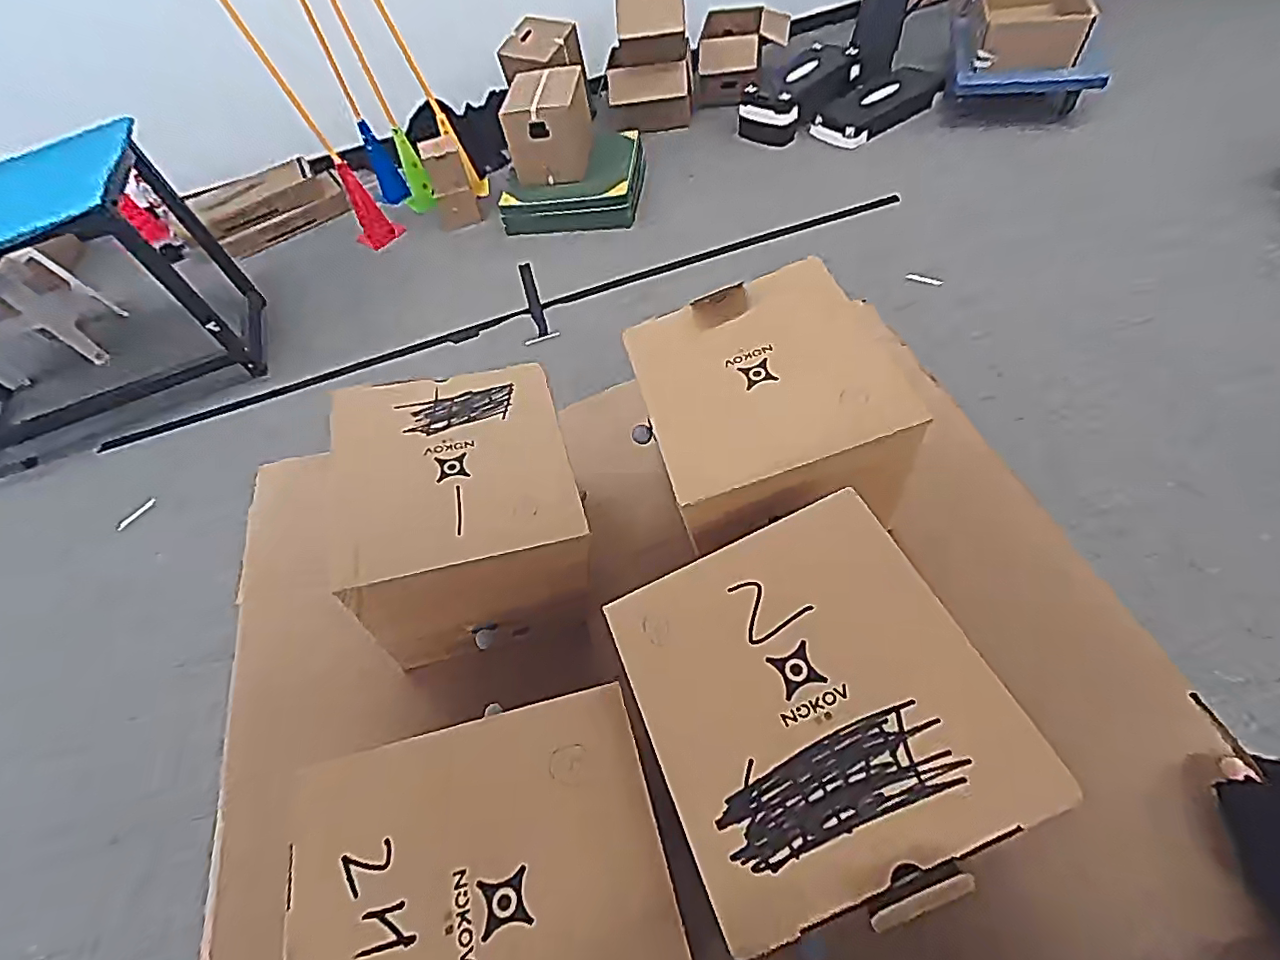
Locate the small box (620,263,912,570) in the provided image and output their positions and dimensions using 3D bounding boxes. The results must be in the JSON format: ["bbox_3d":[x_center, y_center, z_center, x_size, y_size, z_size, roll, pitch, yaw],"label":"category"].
[{"bbox_3d":[0.100,-0.039,0.459,0.168,0.176,0.179,-20,56,5],"label":"small box"}]
